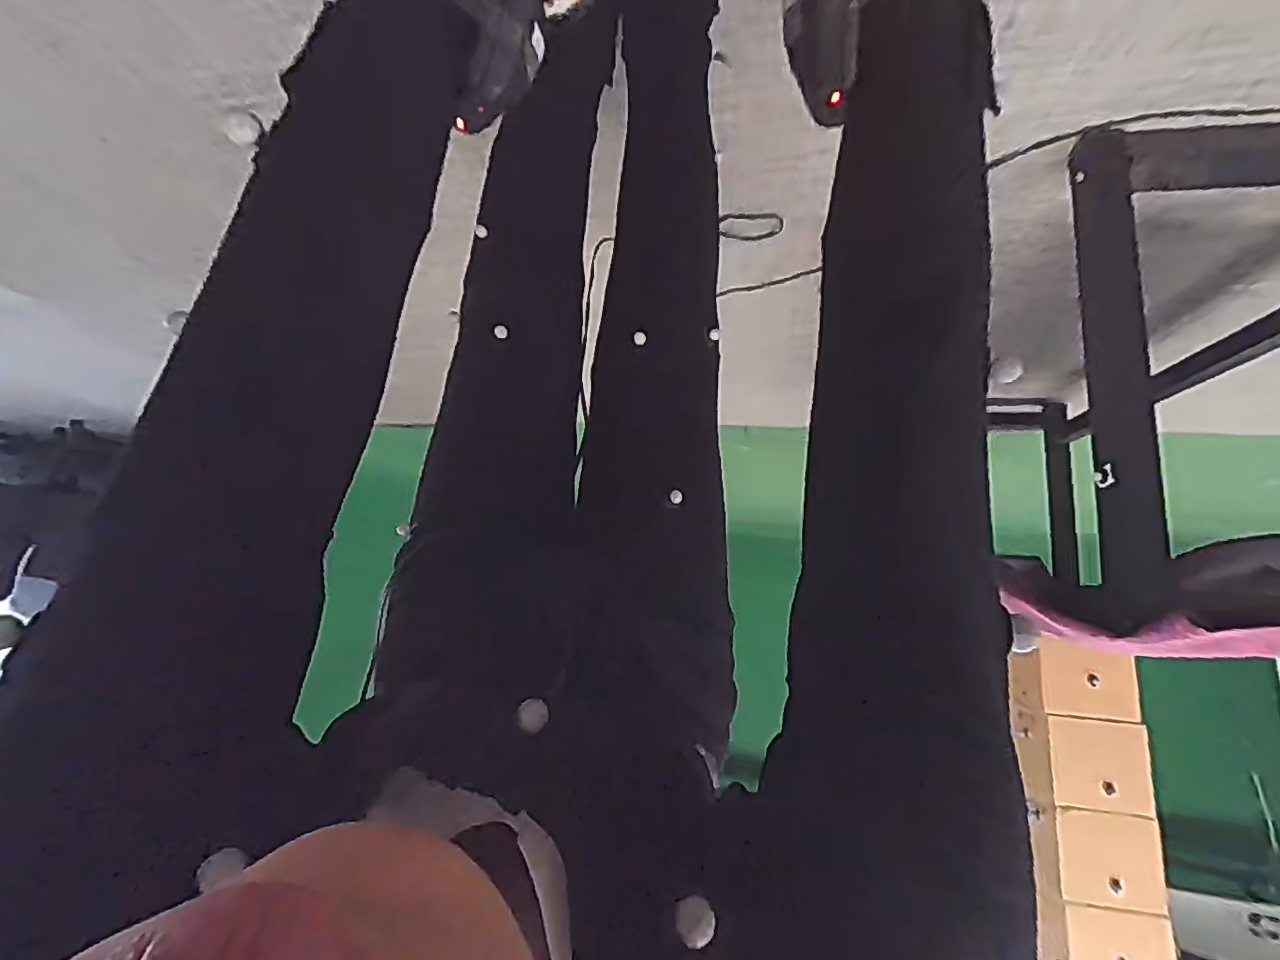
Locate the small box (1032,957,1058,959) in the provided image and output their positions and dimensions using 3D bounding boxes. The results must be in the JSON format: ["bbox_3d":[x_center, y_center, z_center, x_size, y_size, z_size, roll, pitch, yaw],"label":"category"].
[{"bbox_3d":[0.860,1.043,1.006,0.168,0.176,0.179,1,167,10],"label":"small box"}]

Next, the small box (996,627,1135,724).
[{"bbox_3d":[0.893,0.408,1.154,0.179,0.176,0.168,2,167,9],"label":"small box"}]

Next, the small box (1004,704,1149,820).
[{"bbox_3d":[0.887,0.567,1.116,0.179,0.176,0.168,3,167,9],"label":"small box"}]

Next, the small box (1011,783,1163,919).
[{"bbox_3d":[0.879,0.726,1.081,0.179,0.176,0.168,3,167,10],"label":"small box"}]
